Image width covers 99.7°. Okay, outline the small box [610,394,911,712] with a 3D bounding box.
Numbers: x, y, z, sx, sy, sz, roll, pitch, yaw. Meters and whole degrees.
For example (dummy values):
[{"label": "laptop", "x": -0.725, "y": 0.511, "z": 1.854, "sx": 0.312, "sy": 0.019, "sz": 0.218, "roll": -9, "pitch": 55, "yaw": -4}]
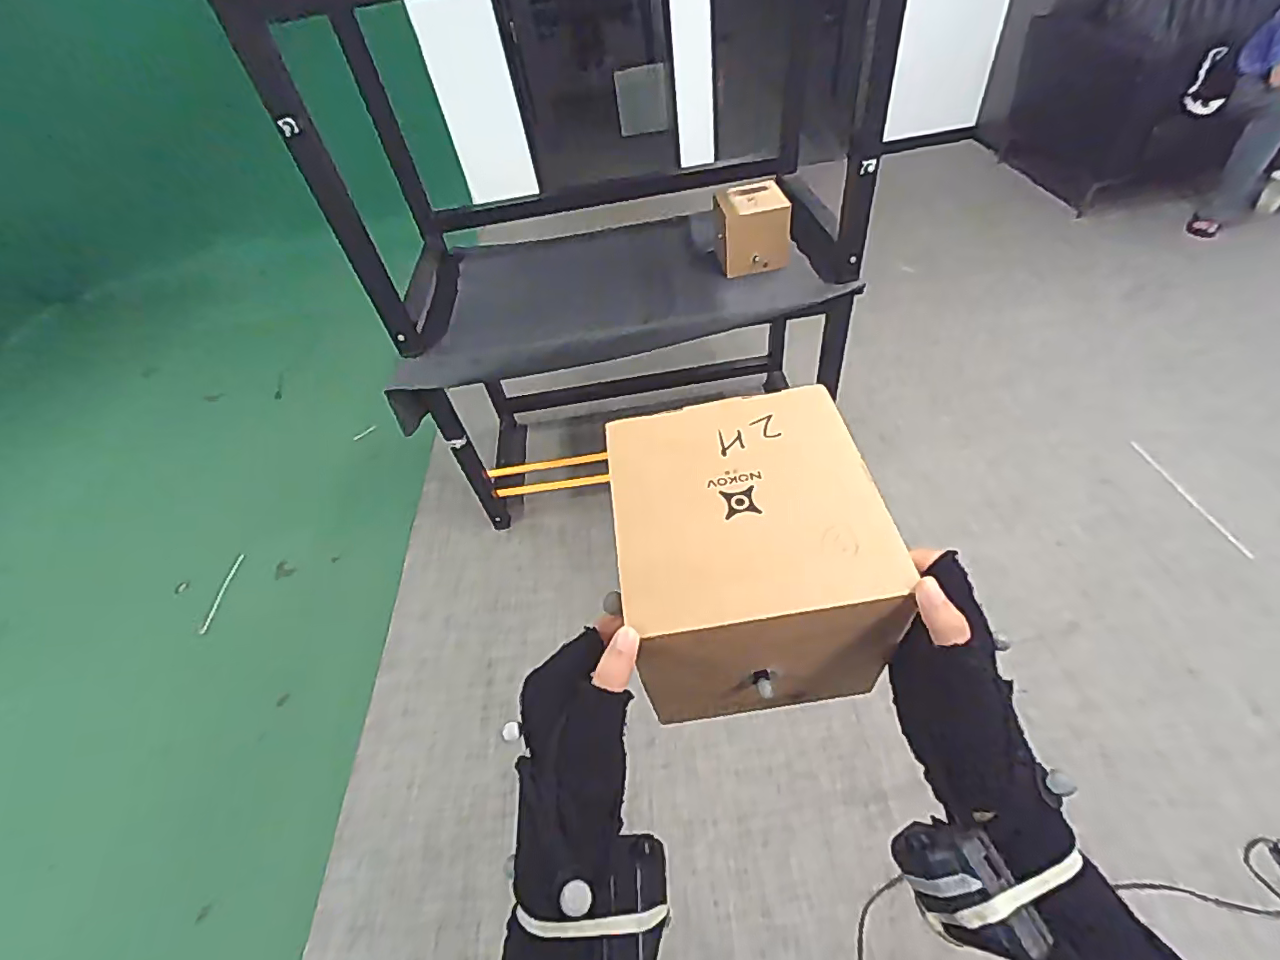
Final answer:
[{"label": "small box", "x": 0.076, "y": 0.064, "z": 0.417, "sx": 0.168, "sy": 0.176, "sz": 0.179, "roll": -10, "pitch": 50, "yaw": 2}]
